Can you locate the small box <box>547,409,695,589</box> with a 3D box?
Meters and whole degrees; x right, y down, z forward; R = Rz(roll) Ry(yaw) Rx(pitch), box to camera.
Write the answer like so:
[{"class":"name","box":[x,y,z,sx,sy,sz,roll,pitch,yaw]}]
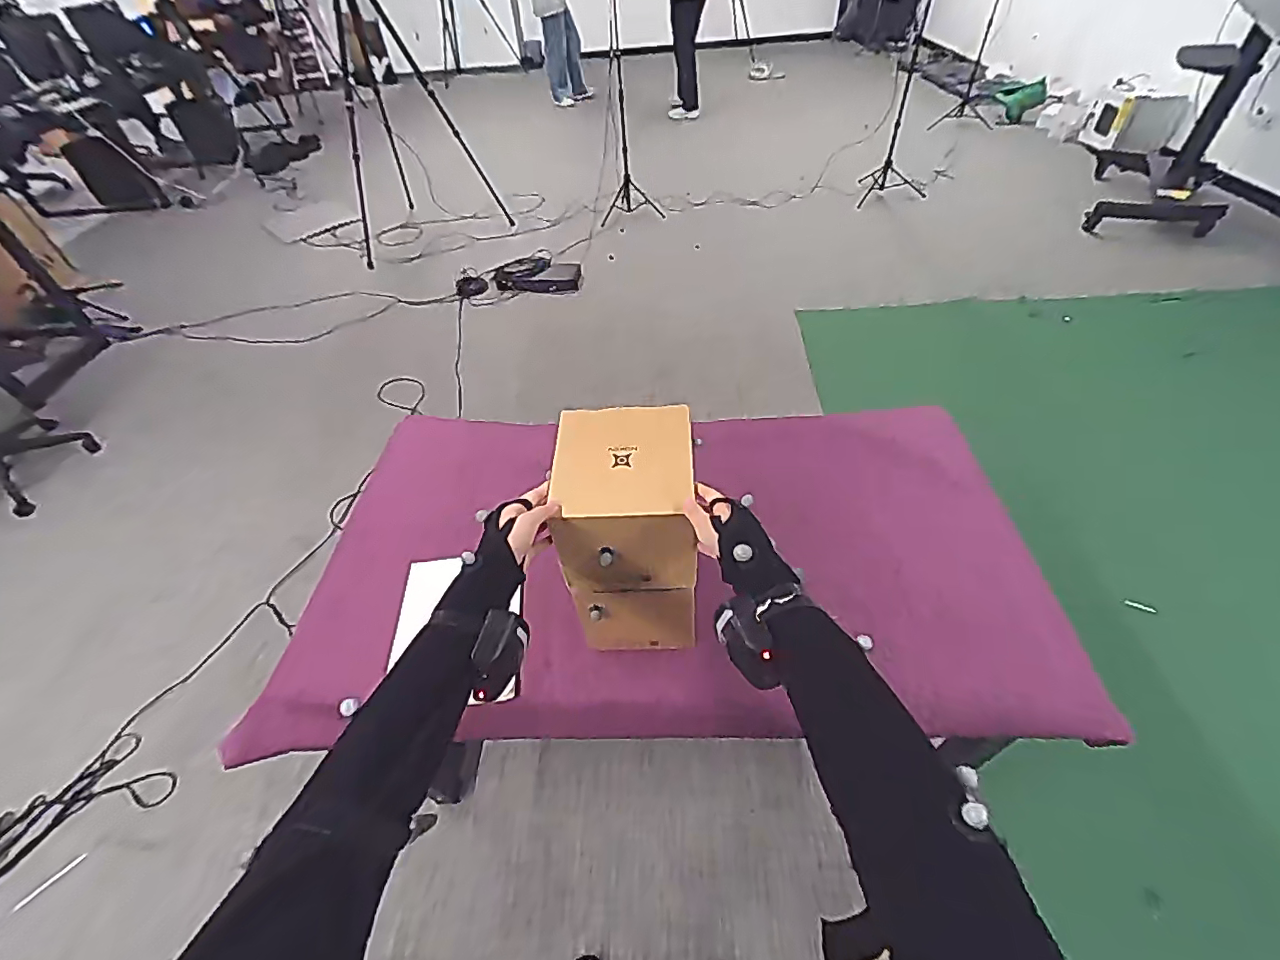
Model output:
[{"class":"small box","box":[-0.014,0.030,0.699,0.168,0.176,0.179,-2,48,3]}]
